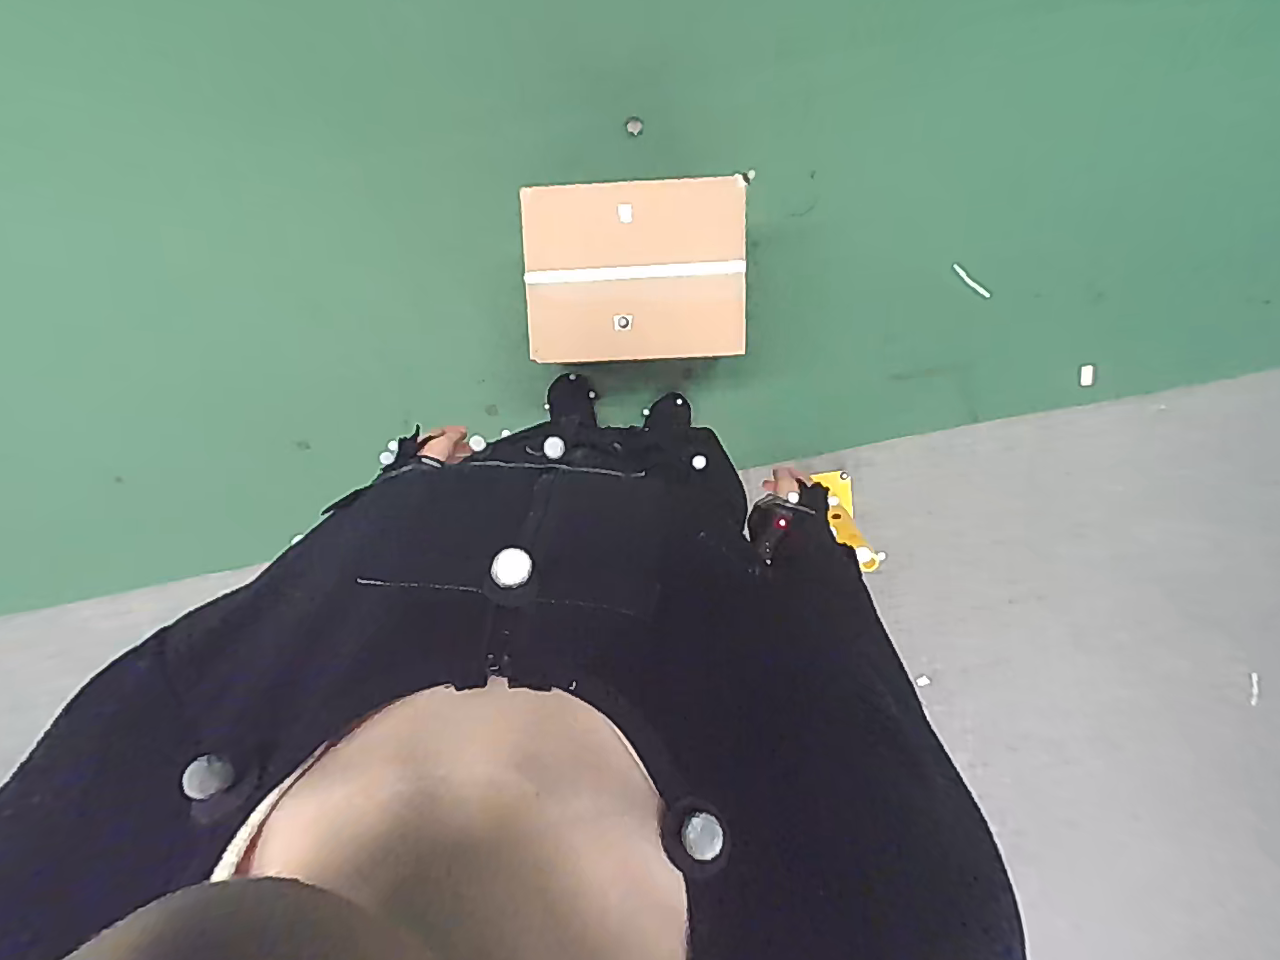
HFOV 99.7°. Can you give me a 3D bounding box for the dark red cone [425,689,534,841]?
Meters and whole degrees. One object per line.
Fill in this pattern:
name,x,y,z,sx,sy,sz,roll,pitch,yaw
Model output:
dark red cone,-0.408,0.690,1.291,0.202,0.394,0.201,-18,97,5
